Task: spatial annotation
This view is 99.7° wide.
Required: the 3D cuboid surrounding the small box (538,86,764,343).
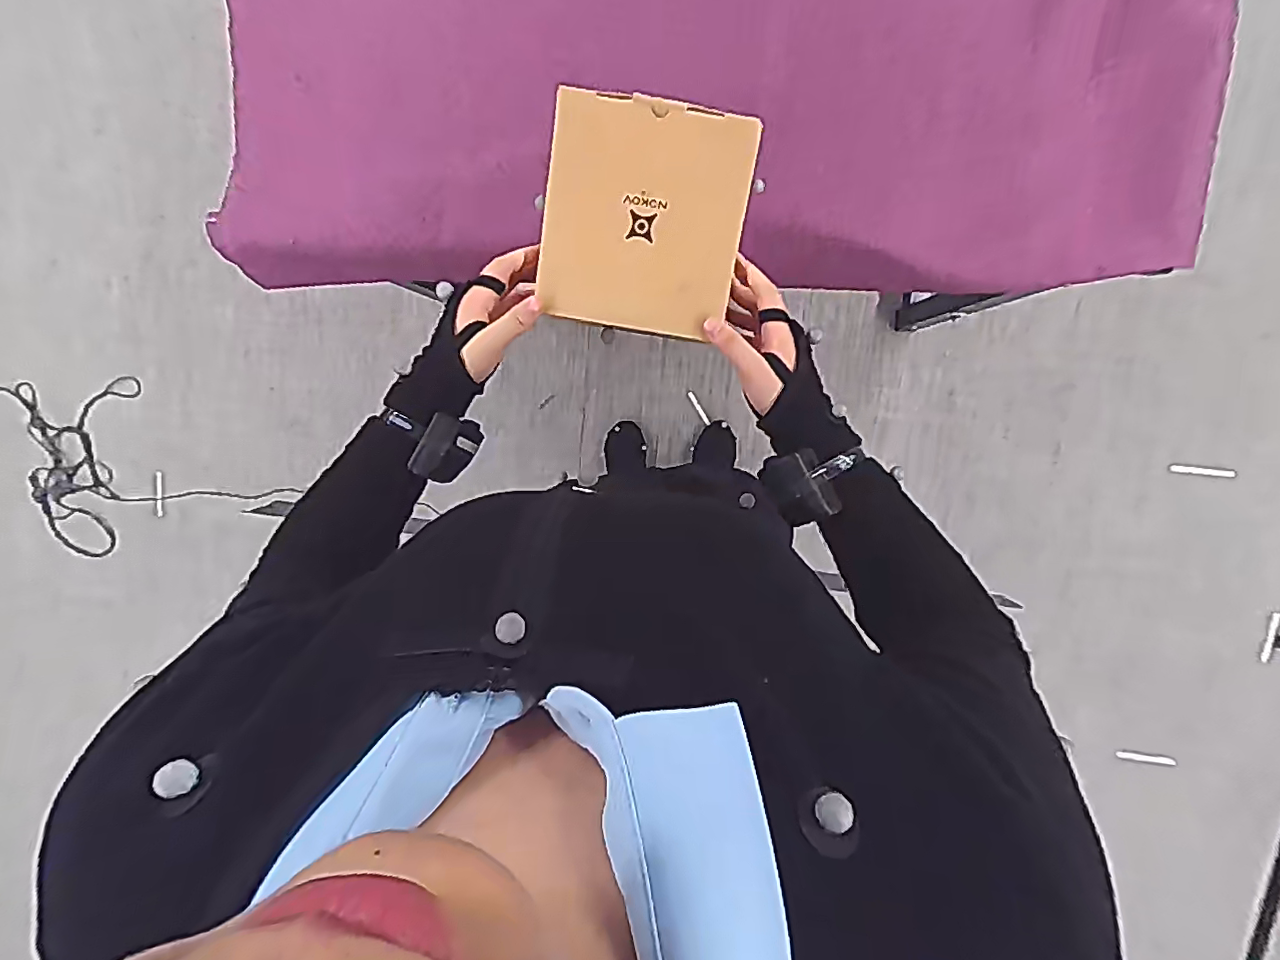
[{"bbox_3d":[0.009,-0.233,0.525,0.168,0.176,0.179,10,103,0],"label":"small box"}]
